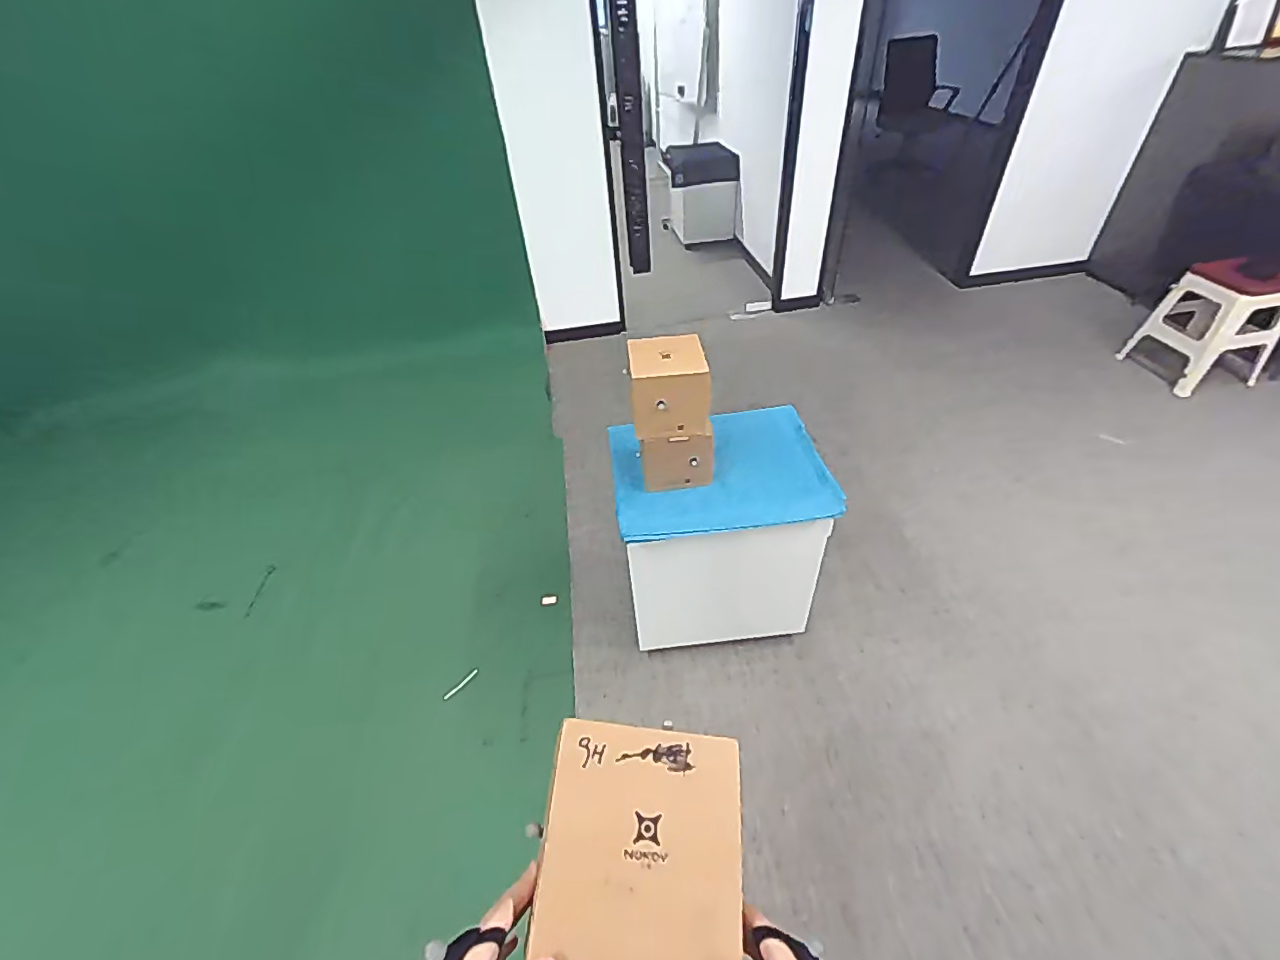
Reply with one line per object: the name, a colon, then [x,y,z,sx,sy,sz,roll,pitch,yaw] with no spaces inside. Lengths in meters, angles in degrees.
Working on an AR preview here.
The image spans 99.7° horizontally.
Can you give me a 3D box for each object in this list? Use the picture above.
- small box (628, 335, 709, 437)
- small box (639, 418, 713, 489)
small box: [0.064,-0.210,1.235,0.168,0.176,0.179,-5,40,-1]
small box: [0.085,-0.091,1.343,0.168,0.176,0.179,-5,41,-3]
